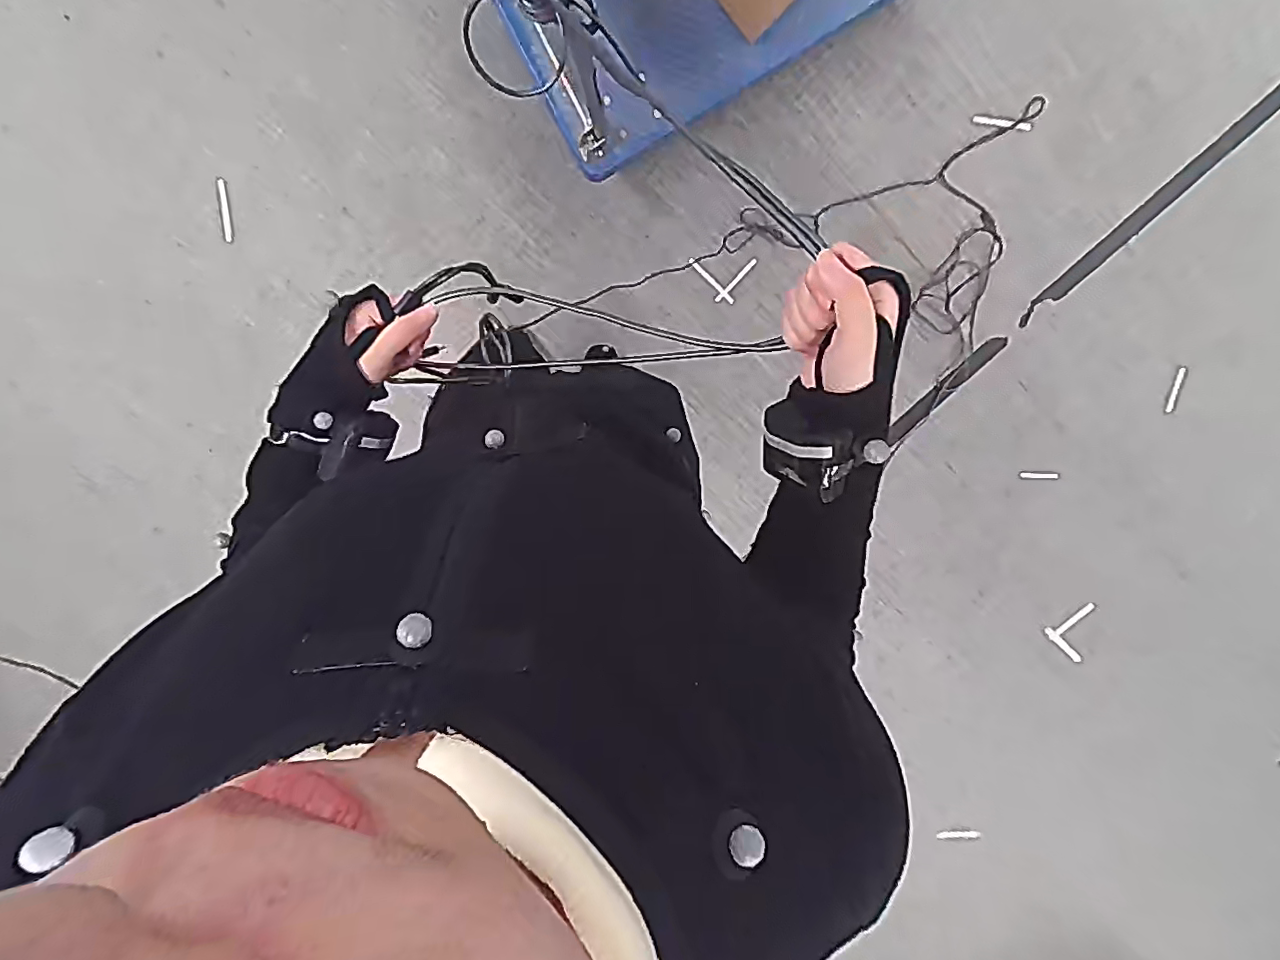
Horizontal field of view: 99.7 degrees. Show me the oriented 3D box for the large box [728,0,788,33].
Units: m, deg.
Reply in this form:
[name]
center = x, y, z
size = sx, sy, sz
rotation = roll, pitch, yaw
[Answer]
[large box]
center = 0.197, -1.054, 0.840
size = 0.320, 0.320, 0.408
rotation = -42, 104, 12
